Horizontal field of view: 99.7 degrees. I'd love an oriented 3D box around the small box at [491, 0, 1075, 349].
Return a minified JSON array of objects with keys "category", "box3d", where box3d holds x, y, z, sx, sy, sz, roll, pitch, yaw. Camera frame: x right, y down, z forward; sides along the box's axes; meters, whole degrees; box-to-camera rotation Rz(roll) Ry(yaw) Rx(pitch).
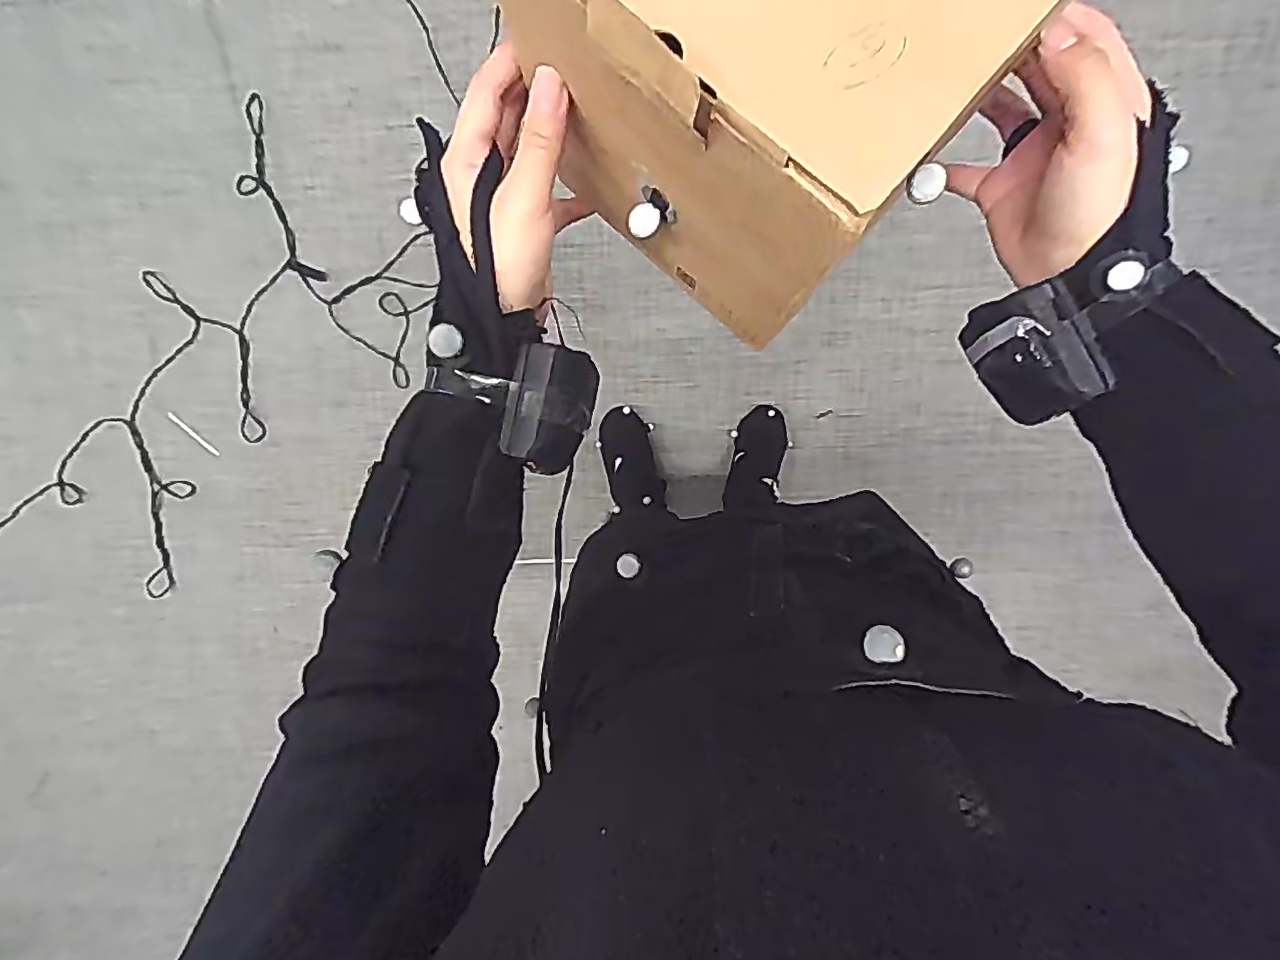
[{"category":"small box","box3d":[0.065,-0.189,0.256,0.168,0.176,0.179,41,92,1]}]
